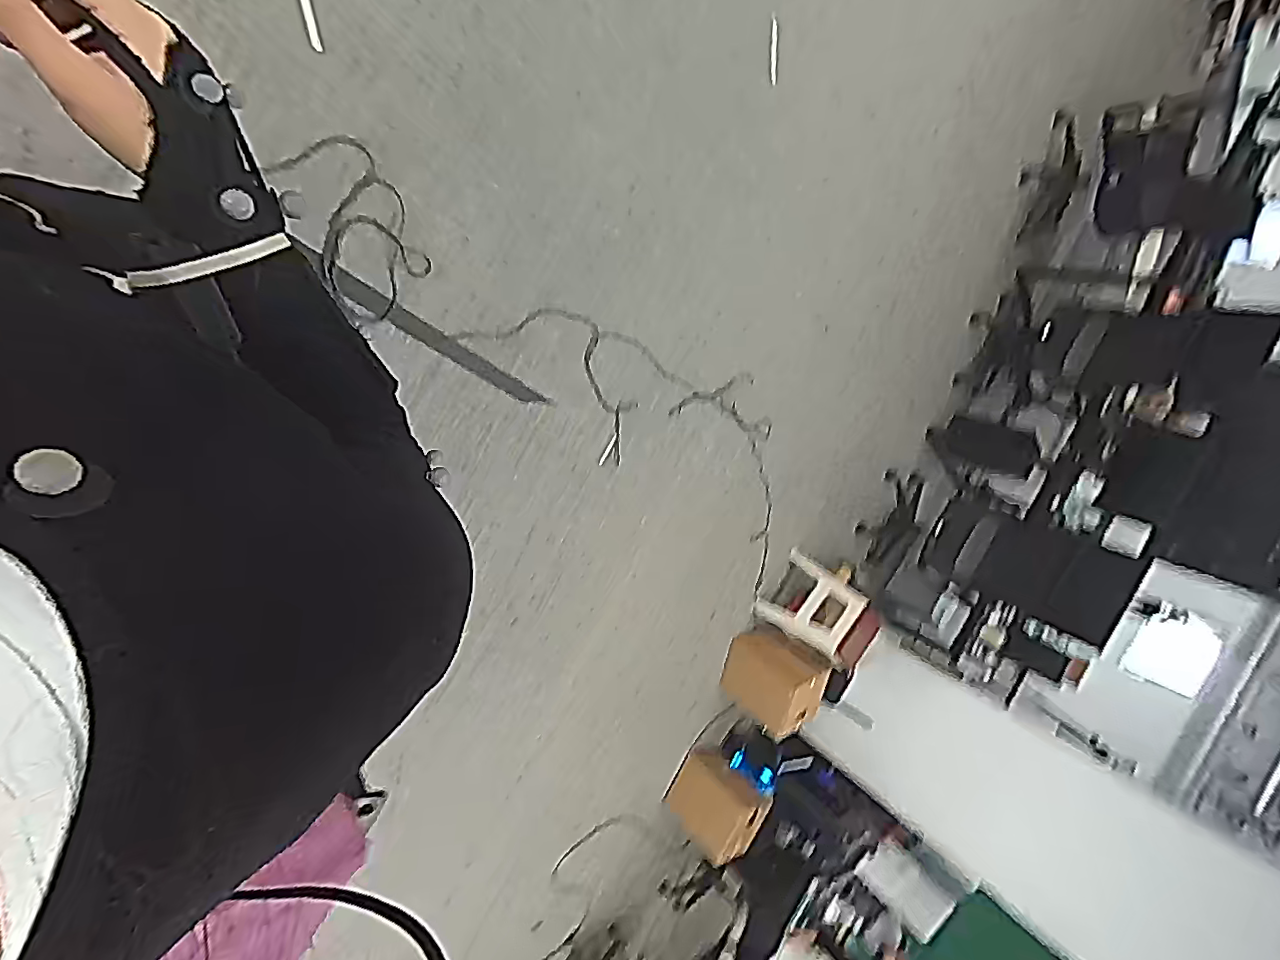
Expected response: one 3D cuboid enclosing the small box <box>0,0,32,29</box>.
[{"bbox_3d":[-0.382,-0.303,0.202,0.179,0.176,0.168,-15,123,-41],"label":"small box"}]
